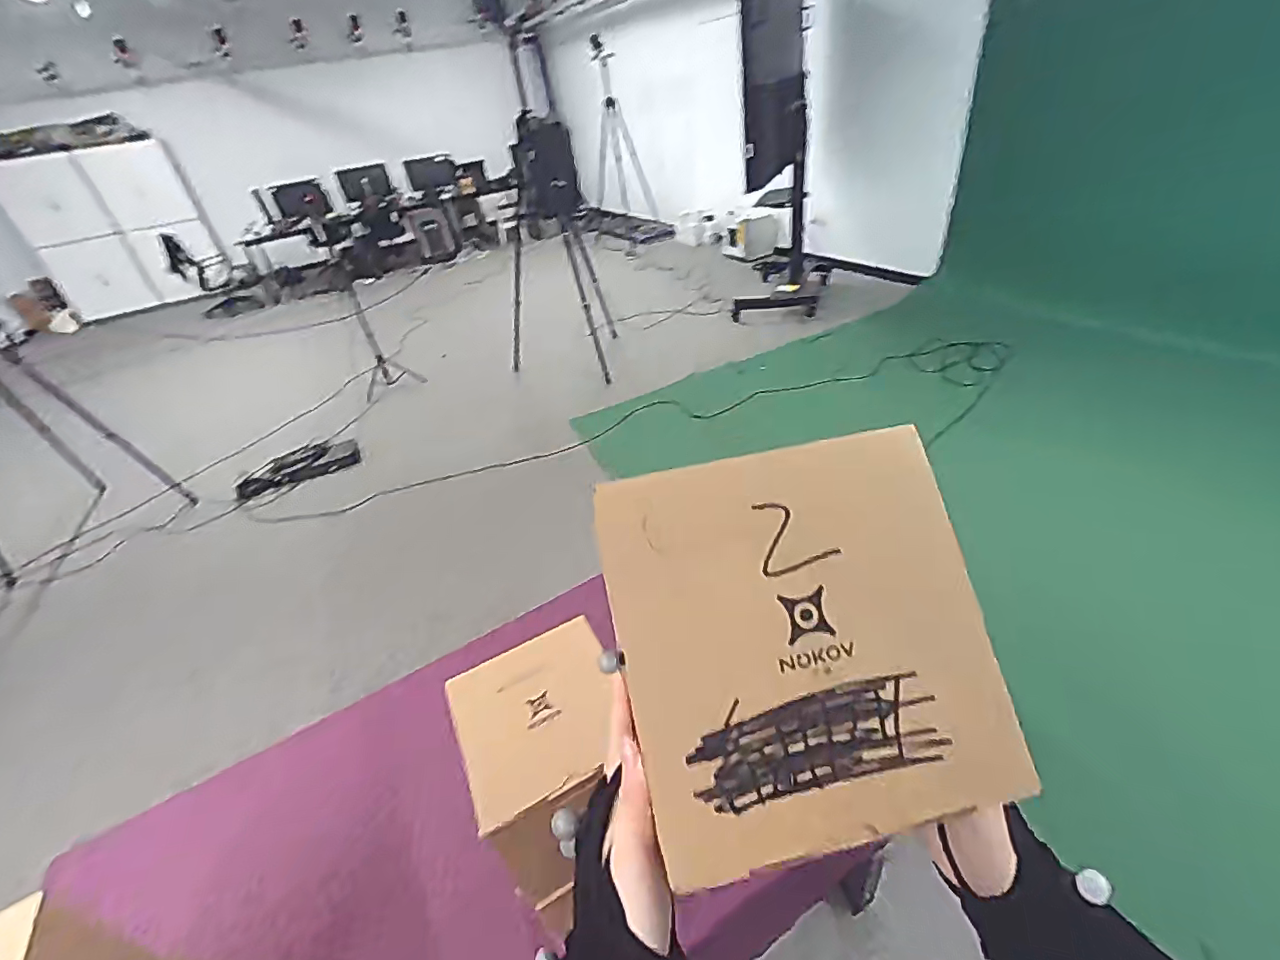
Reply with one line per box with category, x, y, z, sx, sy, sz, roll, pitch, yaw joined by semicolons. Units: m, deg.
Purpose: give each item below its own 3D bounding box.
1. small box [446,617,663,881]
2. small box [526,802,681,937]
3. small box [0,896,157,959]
small box;-0.089;0.293;0.591;0.168;0.176;0.179;-23;37;-18
small box;-0.063;0.427;0.682;0.168;0.176;0.179;-24;37;-19
small box;-0.526;0.493;0.425;0.168;0.176;0.179;-26;38;-22
